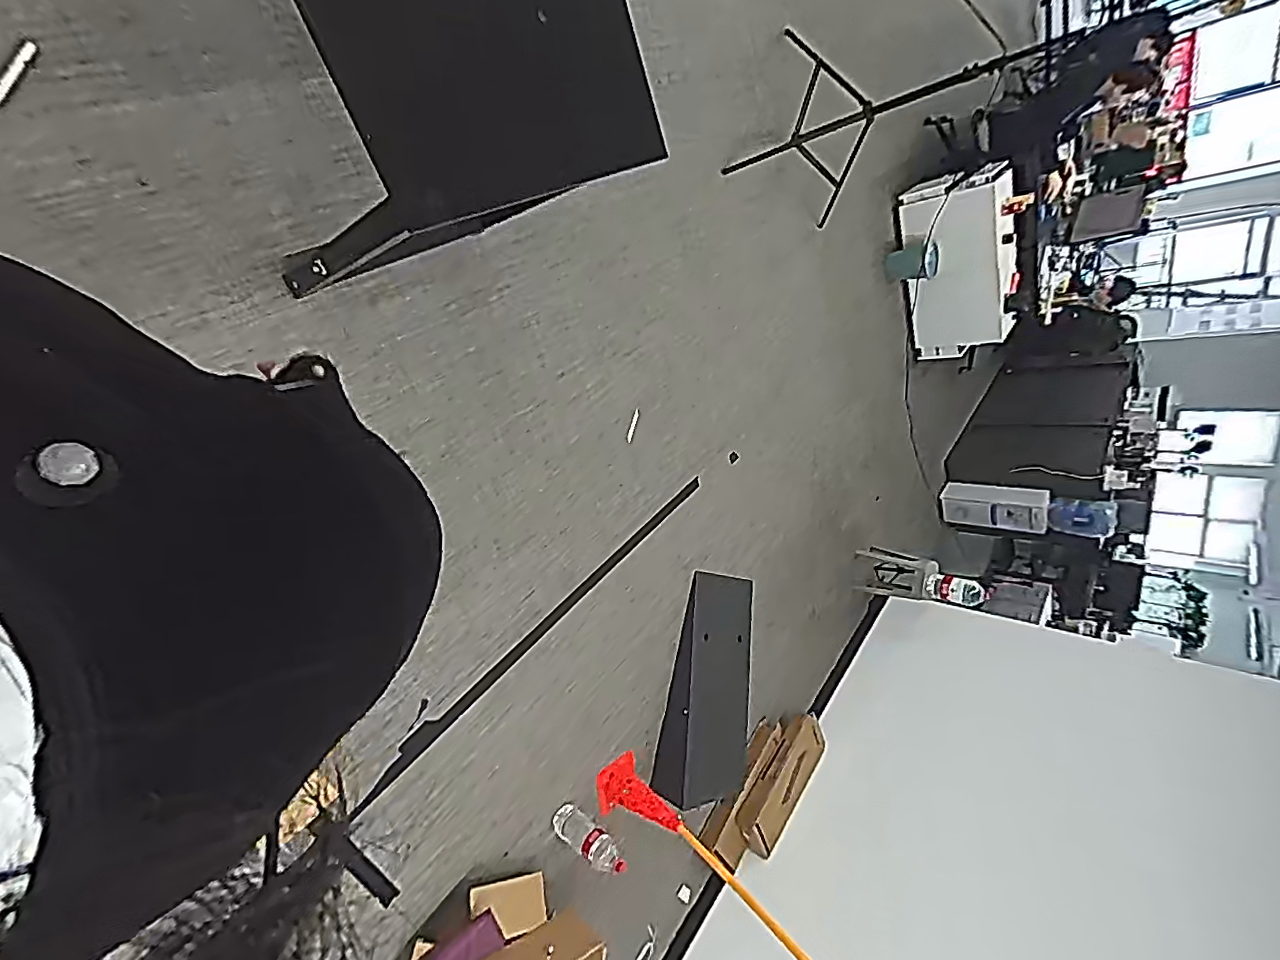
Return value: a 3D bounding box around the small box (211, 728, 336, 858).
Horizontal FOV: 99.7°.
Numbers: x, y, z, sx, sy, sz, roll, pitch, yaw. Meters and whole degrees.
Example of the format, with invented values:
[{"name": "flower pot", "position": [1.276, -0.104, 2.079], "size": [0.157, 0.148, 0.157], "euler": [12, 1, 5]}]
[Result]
[{"name": "small box", "position": [-0.872, 0.730, 1.284], "size": [0.179, 0.176, 0.168], "euler": [-40, 120, -34]}]
